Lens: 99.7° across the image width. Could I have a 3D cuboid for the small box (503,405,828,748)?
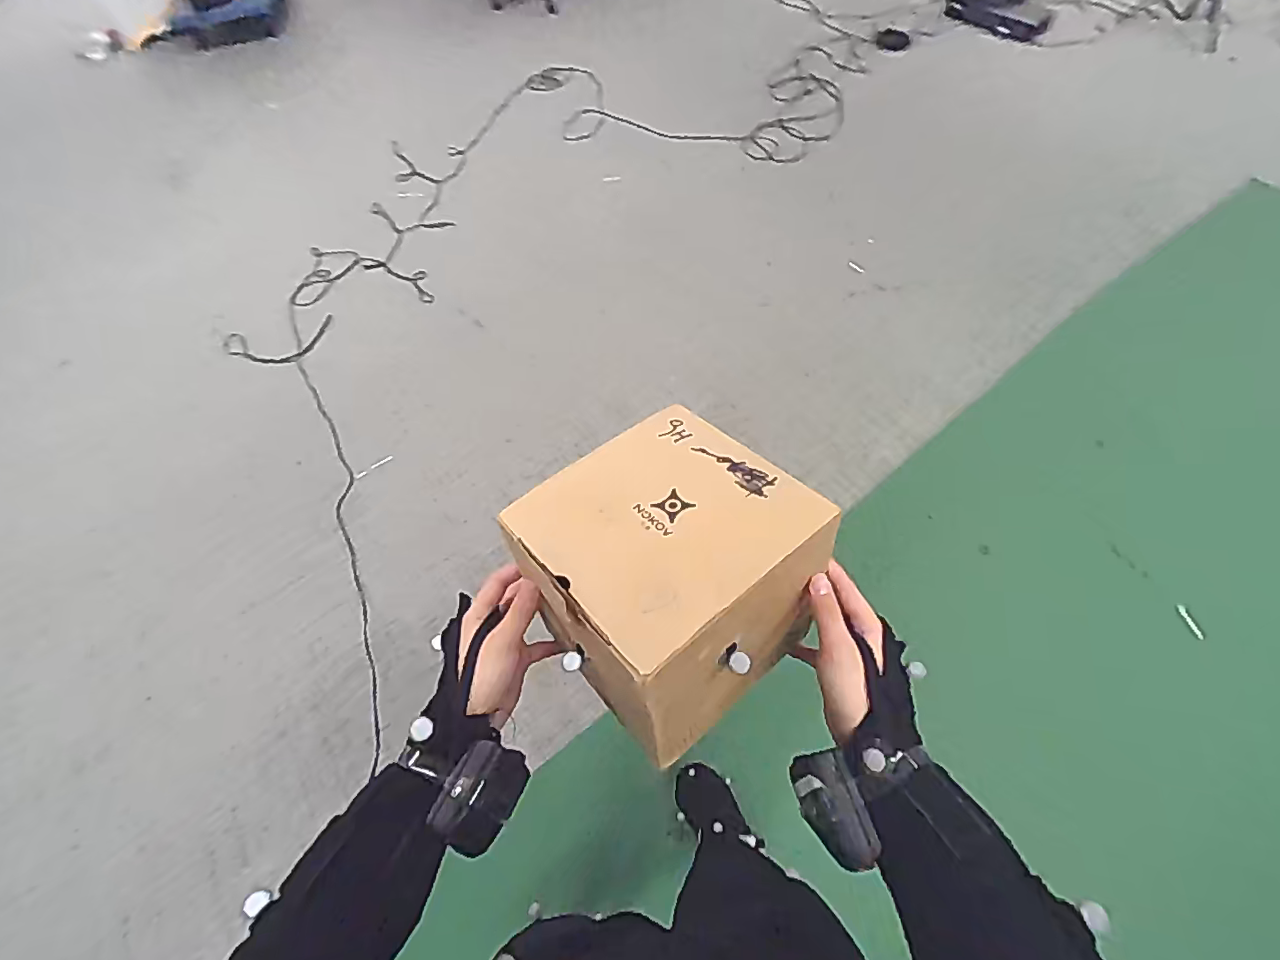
[{"bbox_3d":[0.023,0.077,0.437,0.179,0.176,0.168,-35,52,-23],"label":"small box"}]
